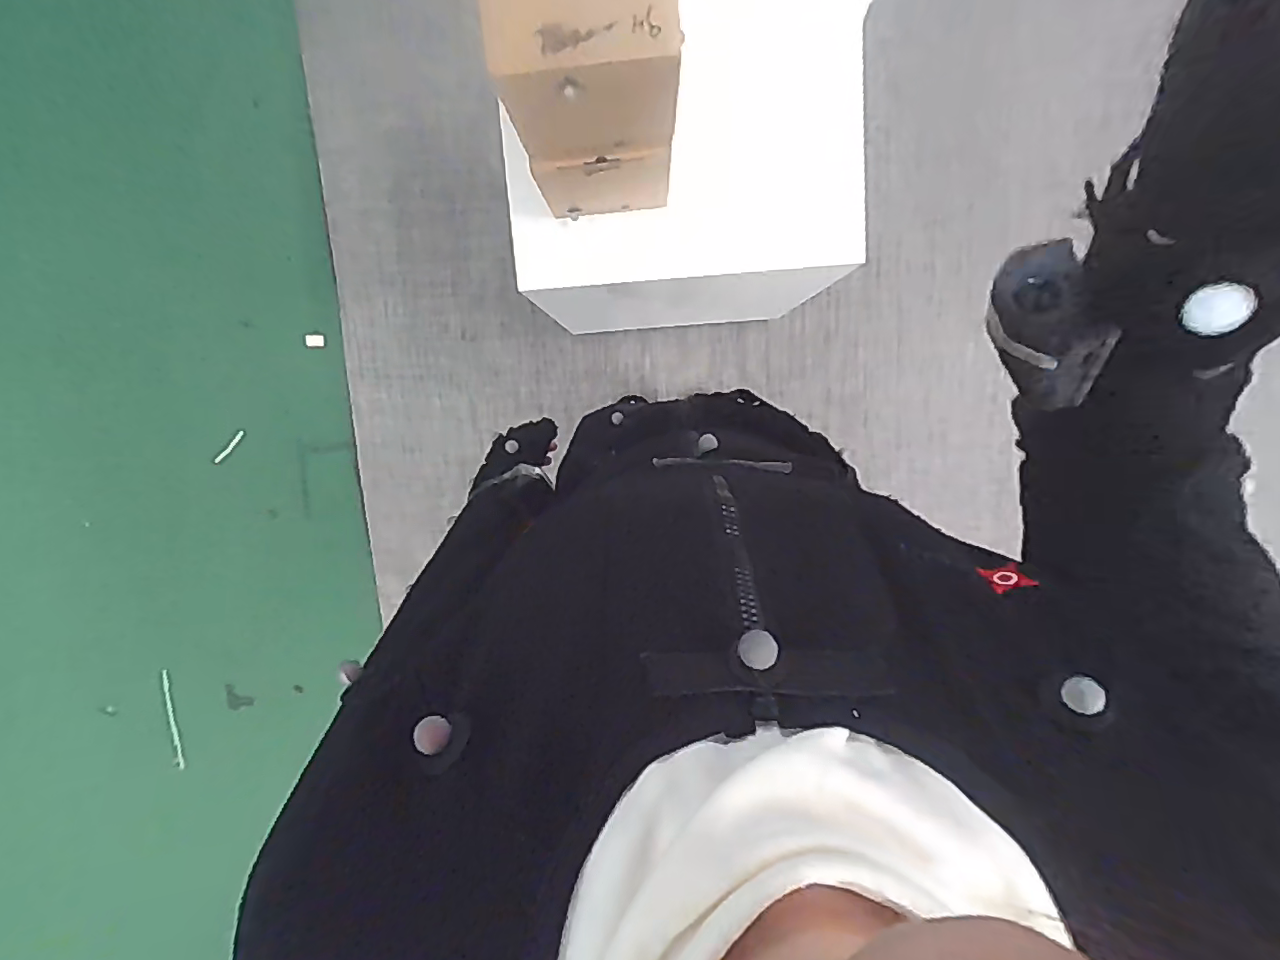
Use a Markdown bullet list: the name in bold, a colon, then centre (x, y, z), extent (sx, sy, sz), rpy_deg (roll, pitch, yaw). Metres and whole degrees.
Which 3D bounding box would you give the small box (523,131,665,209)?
- **small box**: centre (-0.054, -0.462, 0.688), extent (0.168, 0.176, 0.179), rpy_deg (-5, 98, 1)

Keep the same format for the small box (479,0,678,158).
- **small box**: centre (-0.055, -0.448, 0.525), extent (0.168, 0.176, 0.179), rpy_deg (-5, 98, 2)
